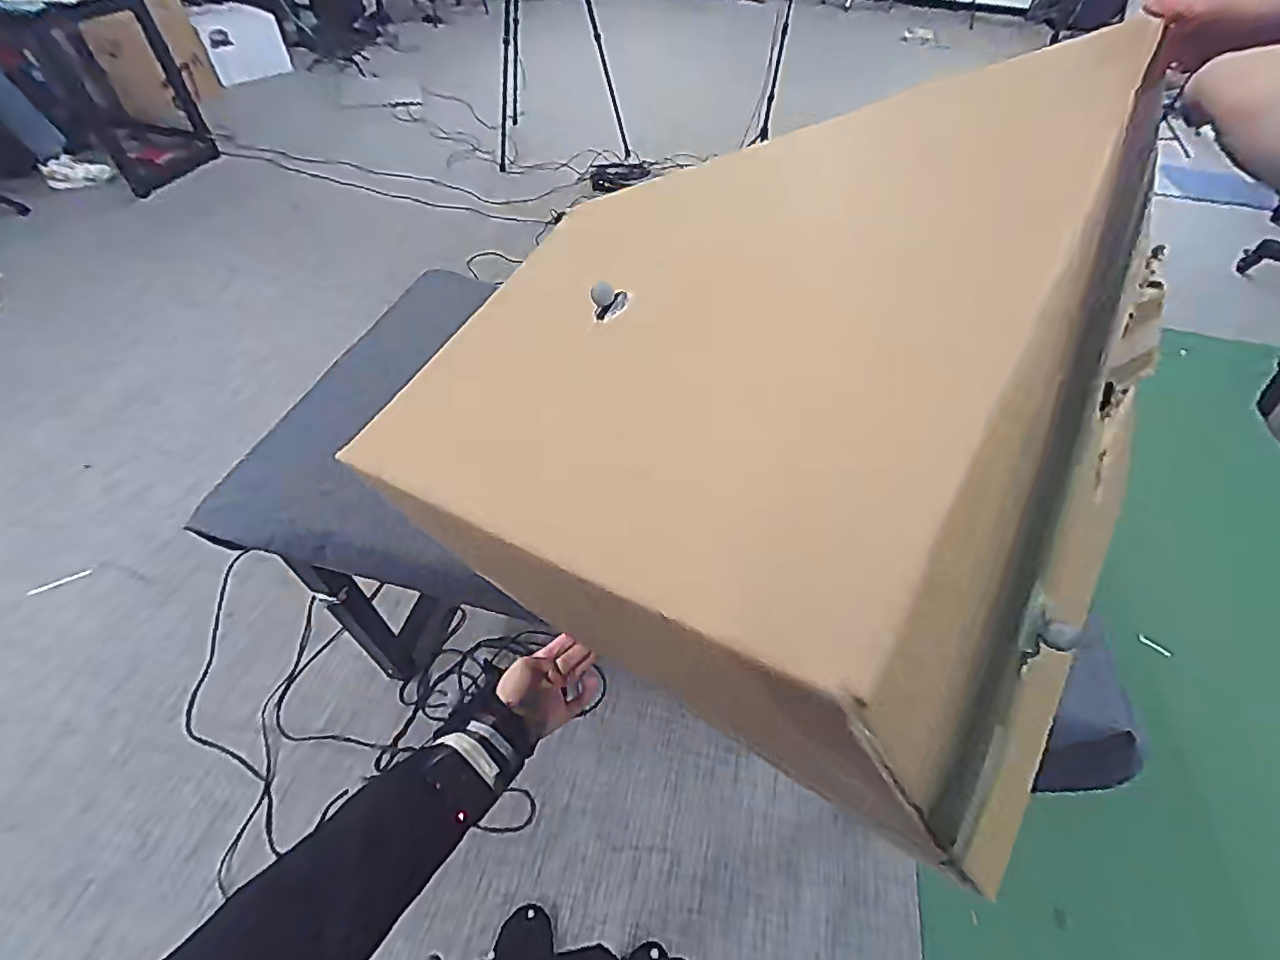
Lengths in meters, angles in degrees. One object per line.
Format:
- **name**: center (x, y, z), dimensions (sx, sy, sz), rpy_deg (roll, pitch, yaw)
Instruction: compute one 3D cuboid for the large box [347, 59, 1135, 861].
- **large box**: center (0.067, -0.005, 0.407), dimensions (0.408, 0.320, 0.320), rpy_deg (12, 61, 44)
